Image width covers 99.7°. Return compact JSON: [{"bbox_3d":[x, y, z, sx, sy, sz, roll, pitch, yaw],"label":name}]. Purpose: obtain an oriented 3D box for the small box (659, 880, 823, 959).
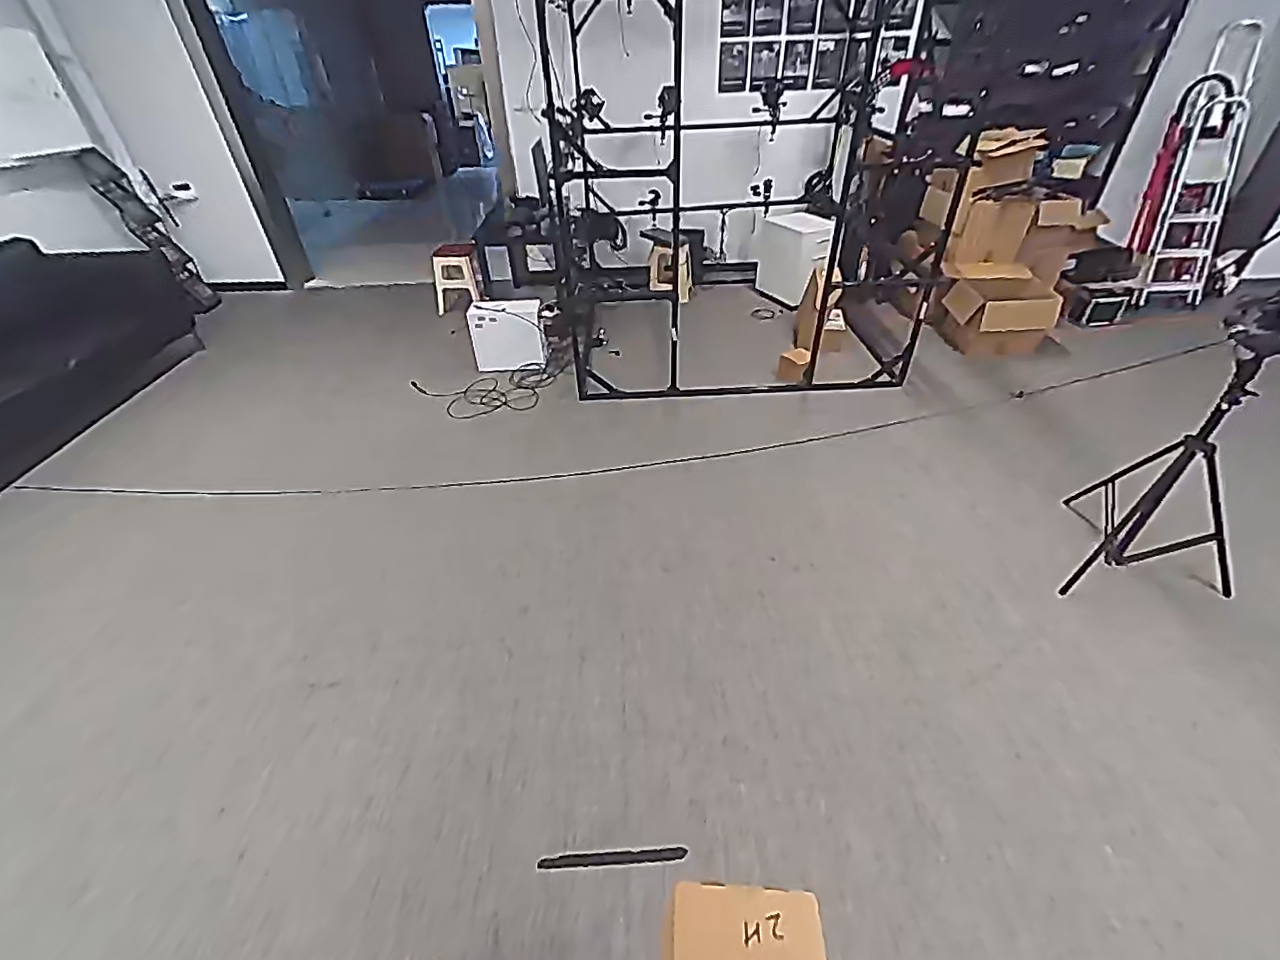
[{"bbox_3d":[0.107,0.581,0.601,0.168,0.176,0.179,5,39,0],"label":"small box"}]
